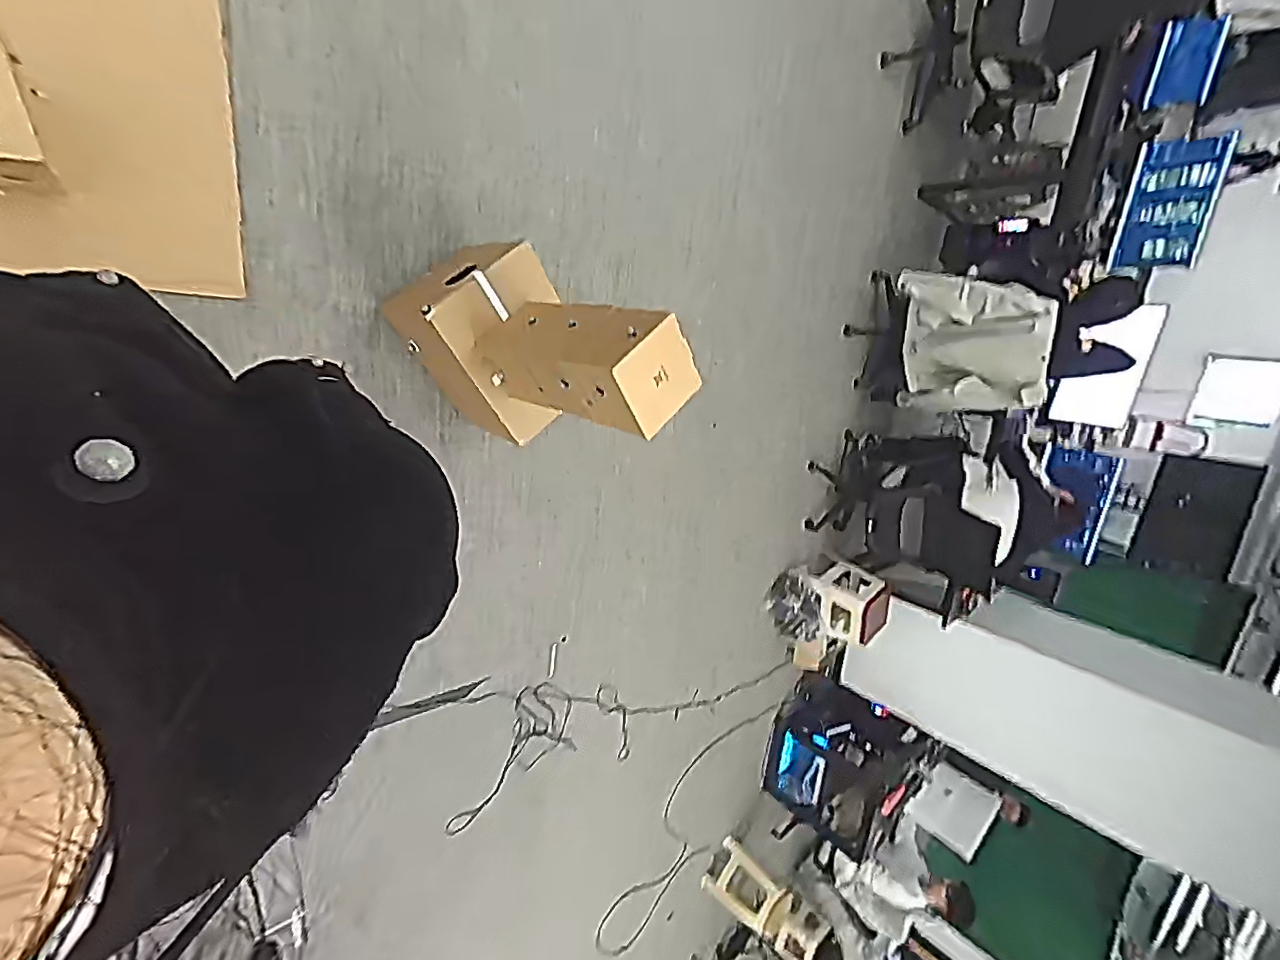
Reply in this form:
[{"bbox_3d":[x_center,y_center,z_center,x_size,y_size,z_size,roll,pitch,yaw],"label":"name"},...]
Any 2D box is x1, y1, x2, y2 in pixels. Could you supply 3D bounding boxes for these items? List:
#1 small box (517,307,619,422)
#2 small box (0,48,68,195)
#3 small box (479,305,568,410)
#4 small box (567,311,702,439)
[{"bbox_3d":[-0.127,-0.252,1.150,0.179,0.176,0.168,-48,132,-21],"label":"small box"},{"bbox_3d":[-1.030,-0.553,0.832,0.168,0.176,0.179,-16,116,-37],"label":"small box"},{"bbox_3d":[-0.239,-0.293,1.263,0.179,0.176,0.168,-47,132,-20],"label":"small box"},{"bbox_3d":[-0.017,-0.206,1.038,0.179,0.176,0.168,-48,132,-21],"label":"small box"}]
